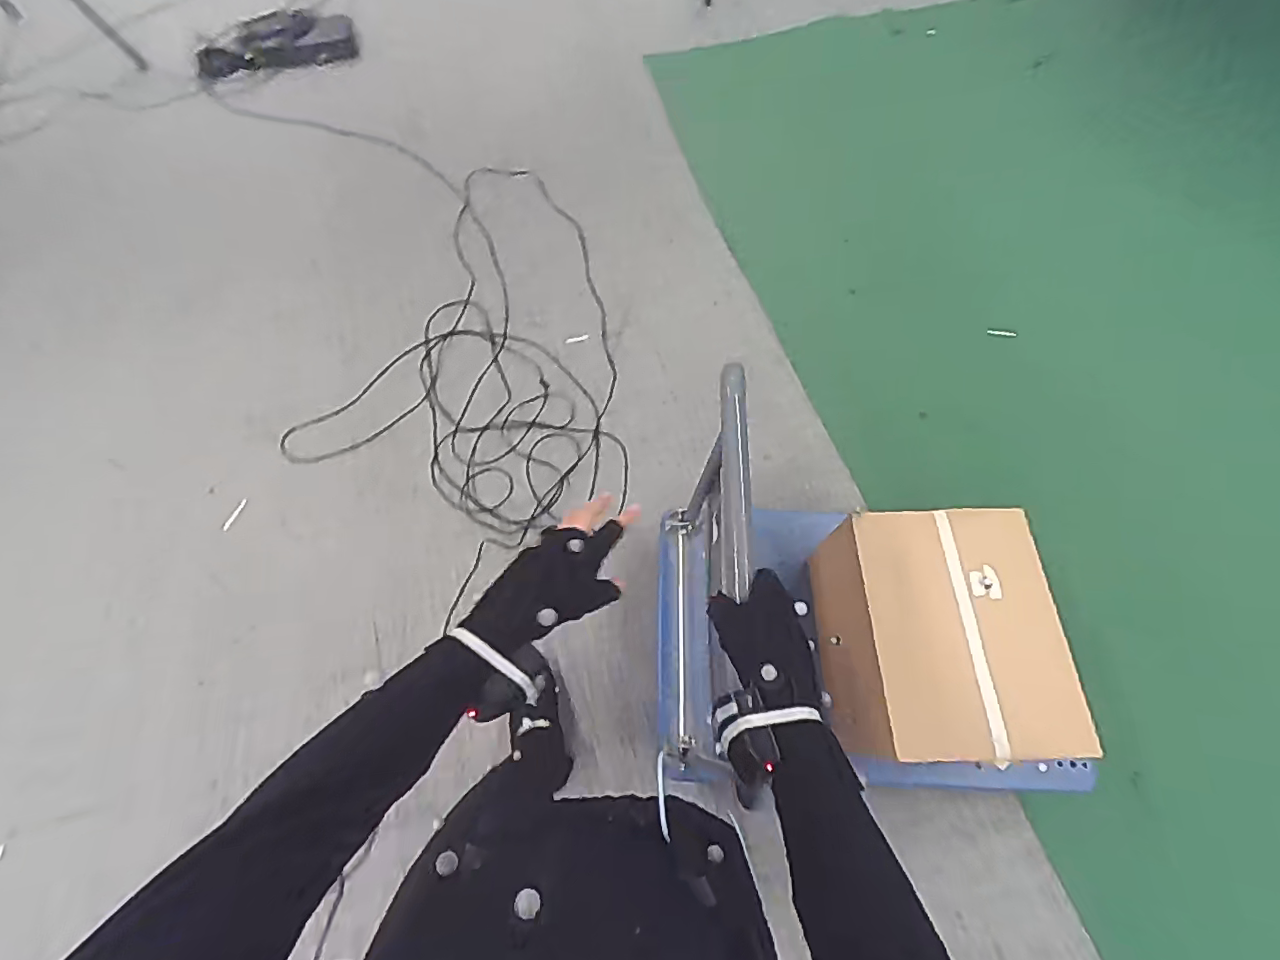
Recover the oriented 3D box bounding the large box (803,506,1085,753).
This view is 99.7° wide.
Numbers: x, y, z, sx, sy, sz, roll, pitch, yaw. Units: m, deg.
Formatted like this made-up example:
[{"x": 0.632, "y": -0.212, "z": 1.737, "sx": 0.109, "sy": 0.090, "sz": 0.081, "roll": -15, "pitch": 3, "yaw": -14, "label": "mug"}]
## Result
[{"x": 0.530, "y": 0.295, "z": 1.046, "sx": 0.320, "sy": 0.320, "sz": 0.408, "roll": -1, "pitch": 65, "yaw": 0, "label": "large box"}]
